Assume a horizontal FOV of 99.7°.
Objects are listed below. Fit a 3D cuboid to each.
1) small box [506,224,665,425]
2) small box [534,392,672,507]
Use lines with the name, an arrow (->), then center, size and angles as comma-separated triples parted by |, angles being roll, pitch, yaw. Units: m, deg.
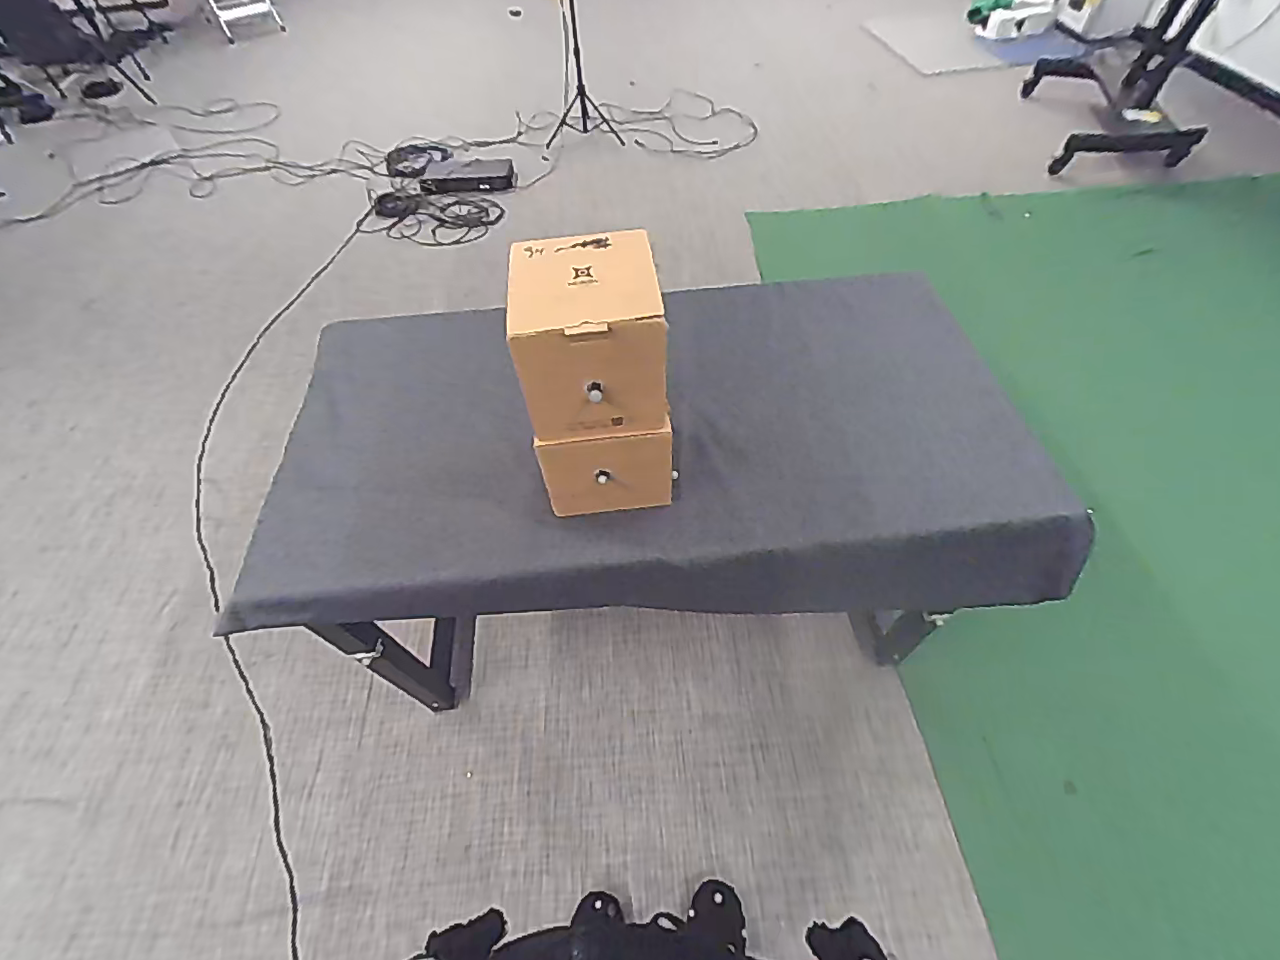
small box -> -0.060, -0.181, 0.663 | 0.168, 0.176, 0.179 | -6, 55, -2
small box -> -0.051, -0.076, 0.788 | 0.179, 0.176, 0.168 | -6, 54, -1
